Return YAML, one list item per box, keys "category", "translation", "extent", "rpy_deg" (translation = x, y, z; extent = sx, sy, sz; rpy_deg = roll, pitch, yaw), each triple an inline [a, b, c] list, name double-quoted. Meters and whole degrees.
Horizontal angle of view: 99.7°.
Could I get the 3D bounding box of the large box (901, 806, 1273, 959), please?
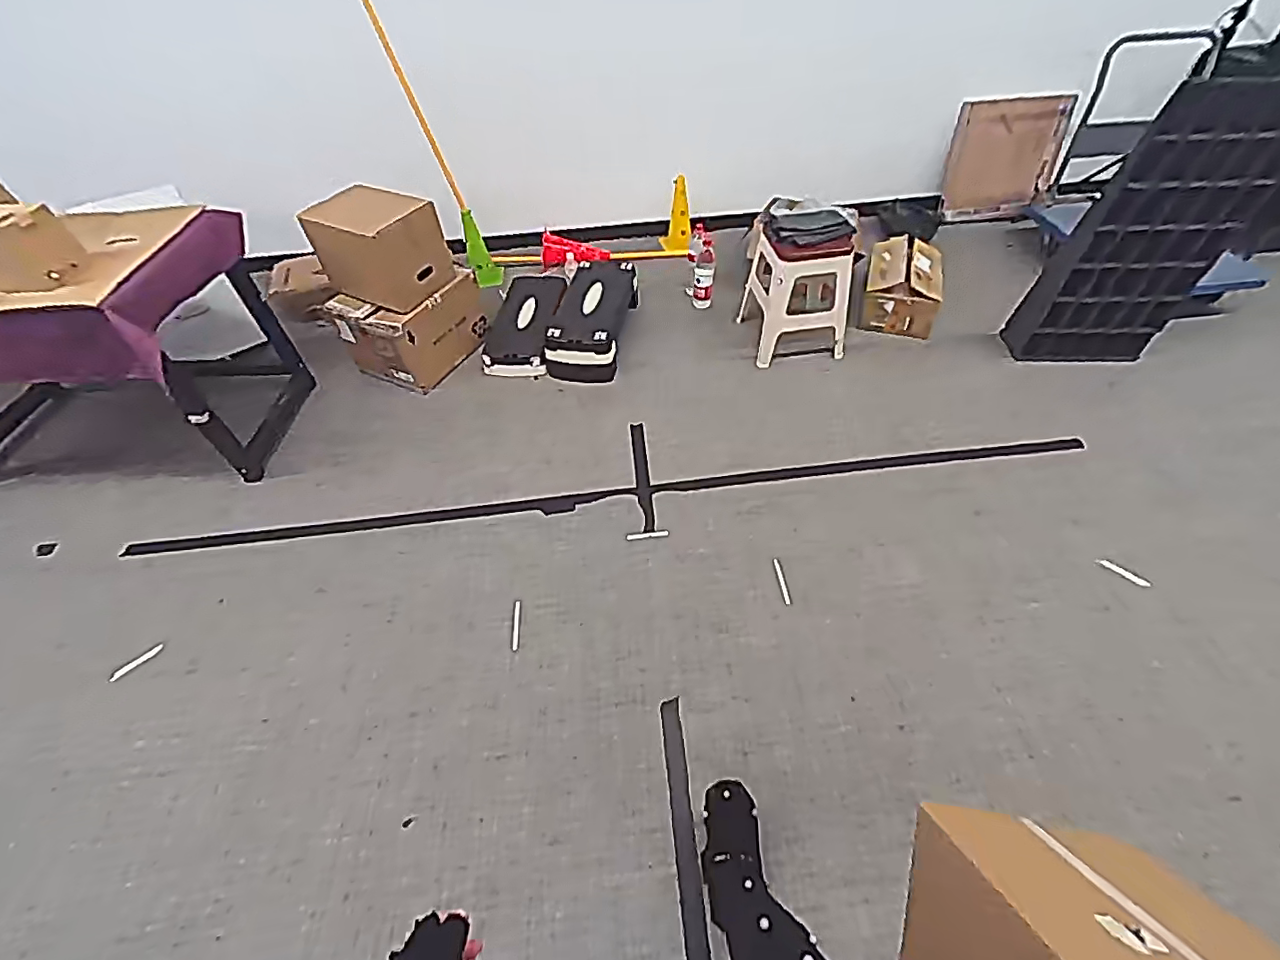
- category: "large box"
  translation: [0.554, 0.672, 0.637]
  extent: [0.320, 0.408, 0.320]
  rpy_deg: [10, 86, 5]
